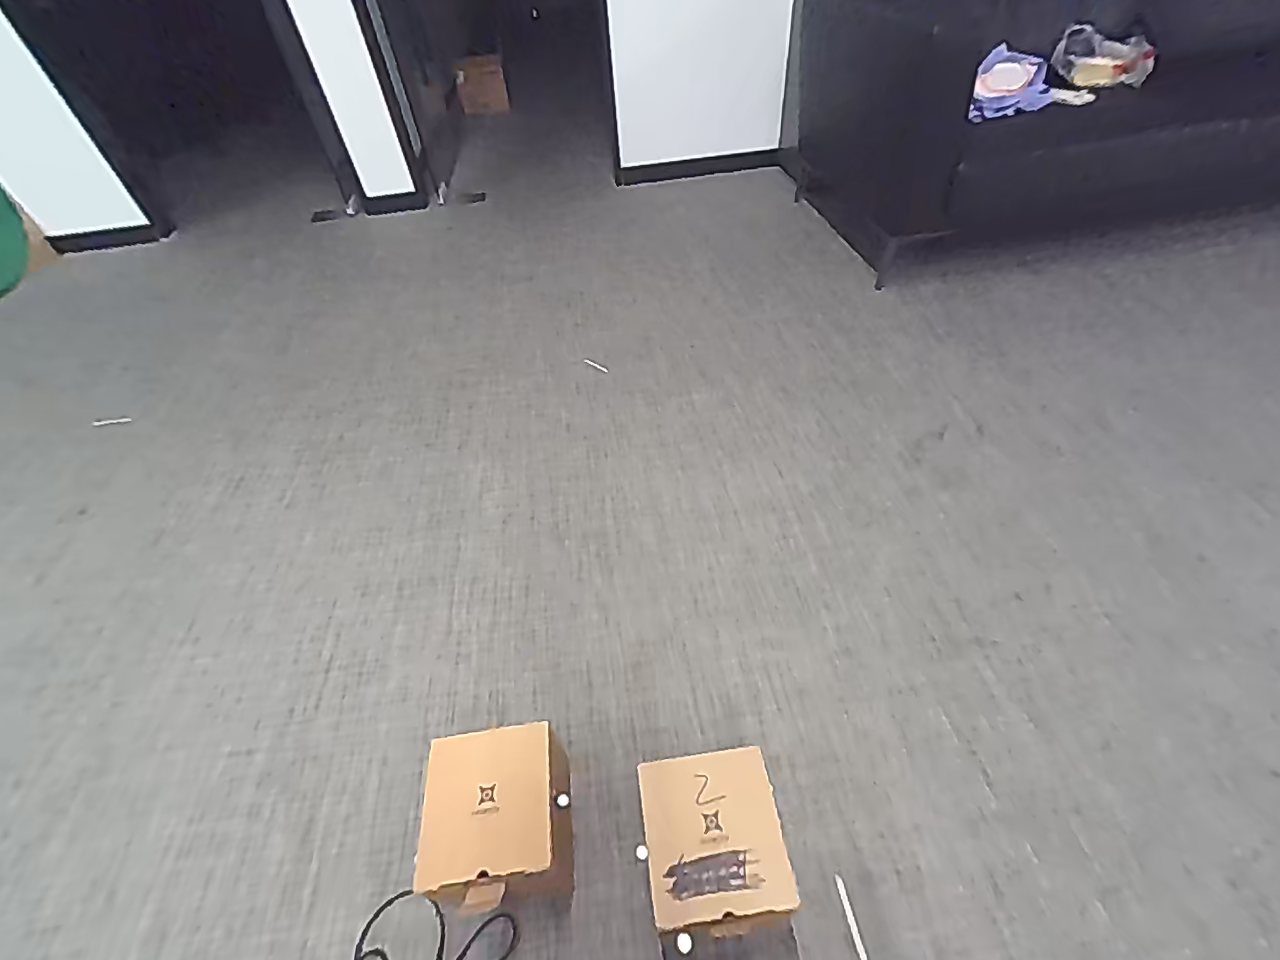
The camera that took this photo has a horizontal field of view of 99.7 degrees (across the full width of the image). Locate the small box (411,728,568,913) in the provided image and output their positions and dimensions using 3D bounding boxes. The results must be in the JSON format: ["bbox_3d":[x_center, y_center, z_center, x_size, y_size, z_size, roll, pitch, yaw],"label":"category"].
[{"bbox_3d":[-0.196,0.475,0.755,0.168,0.176,0.179,-8,46,-2],"label":"small box"}]
